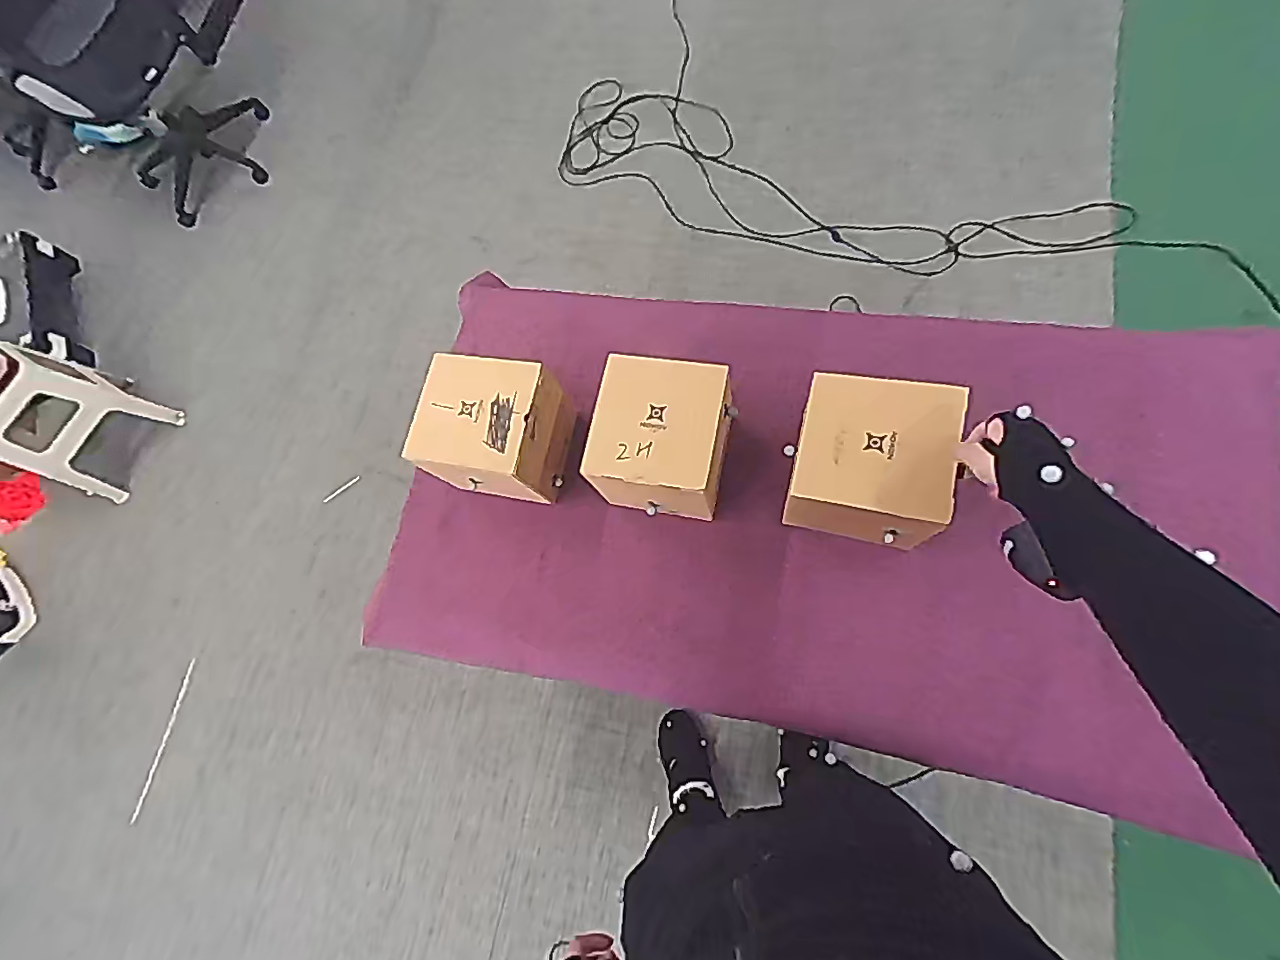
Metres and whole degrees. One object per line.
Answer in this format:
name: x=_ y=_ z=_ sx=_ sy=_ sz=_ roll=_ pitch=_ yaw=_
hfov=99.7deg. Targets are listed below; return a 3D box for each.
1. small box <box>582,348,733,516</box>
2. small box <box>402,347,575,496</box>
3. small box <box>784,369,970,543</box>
small box: x=0.035 y=-0.061 z=0.767 sx=0.168 sy=0.176 sz=0.179 roll=10 pitch=77 yaw=14
small box: x=-0.215 y=-0.080 z=0.819 sx=0.179 sy=0.176 sz=0.168 roll=9 pitch=76 yaw=14
small box: x=0.295 y=-0.022 z=0.708 sx=0.179 sy=0.176 sz=0.168 roll=12 pitch=77 yaw=15
